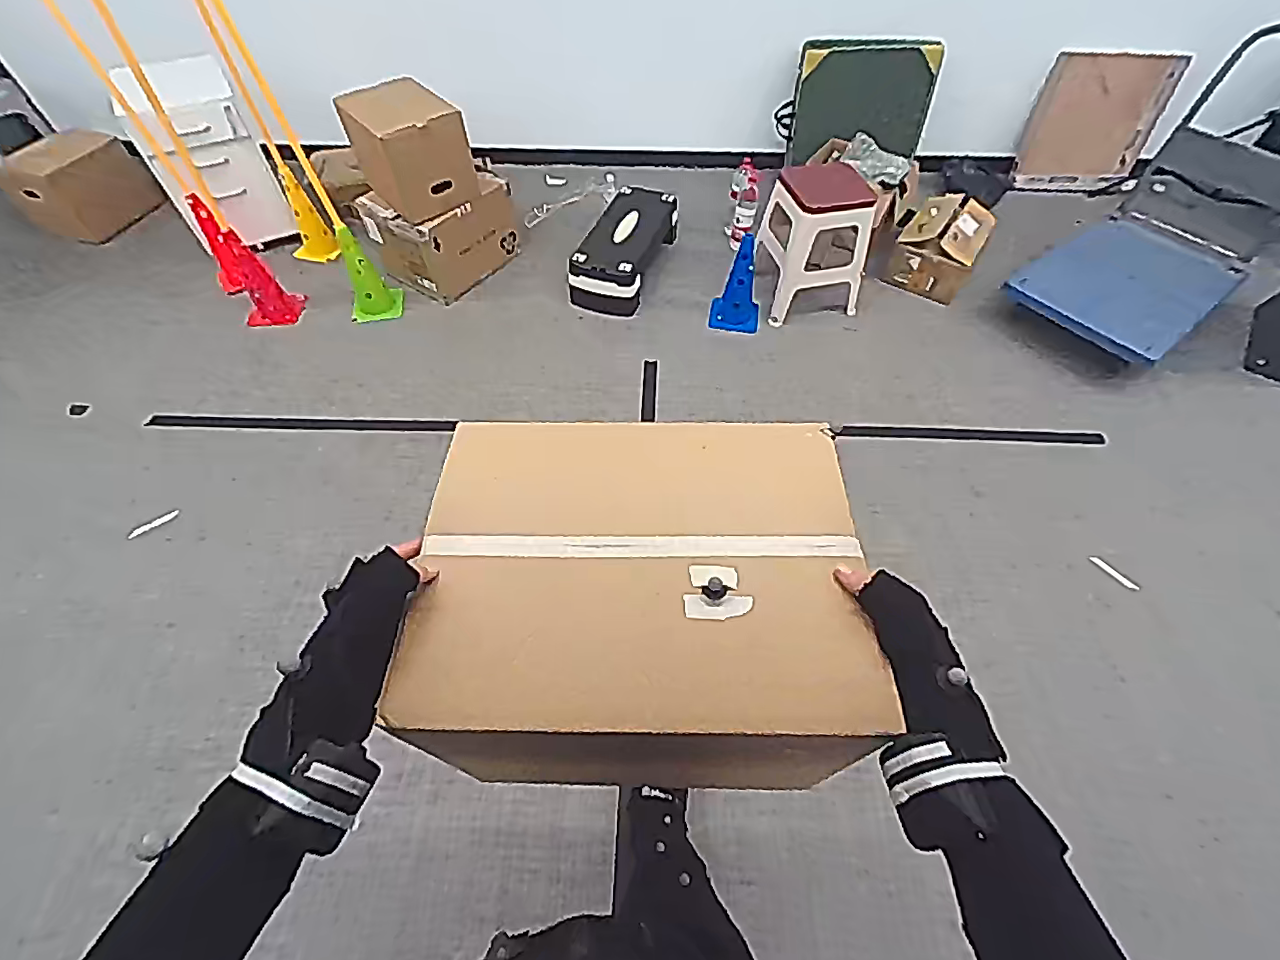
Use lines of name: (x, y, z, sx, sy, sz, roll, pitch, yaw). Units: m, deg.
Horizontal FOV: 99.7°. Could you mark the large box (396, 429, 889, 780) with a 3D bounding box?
large box: (0.003, 0.154, 0.636, 0.408, 0.320, 0.320, 1, 54, 1)
